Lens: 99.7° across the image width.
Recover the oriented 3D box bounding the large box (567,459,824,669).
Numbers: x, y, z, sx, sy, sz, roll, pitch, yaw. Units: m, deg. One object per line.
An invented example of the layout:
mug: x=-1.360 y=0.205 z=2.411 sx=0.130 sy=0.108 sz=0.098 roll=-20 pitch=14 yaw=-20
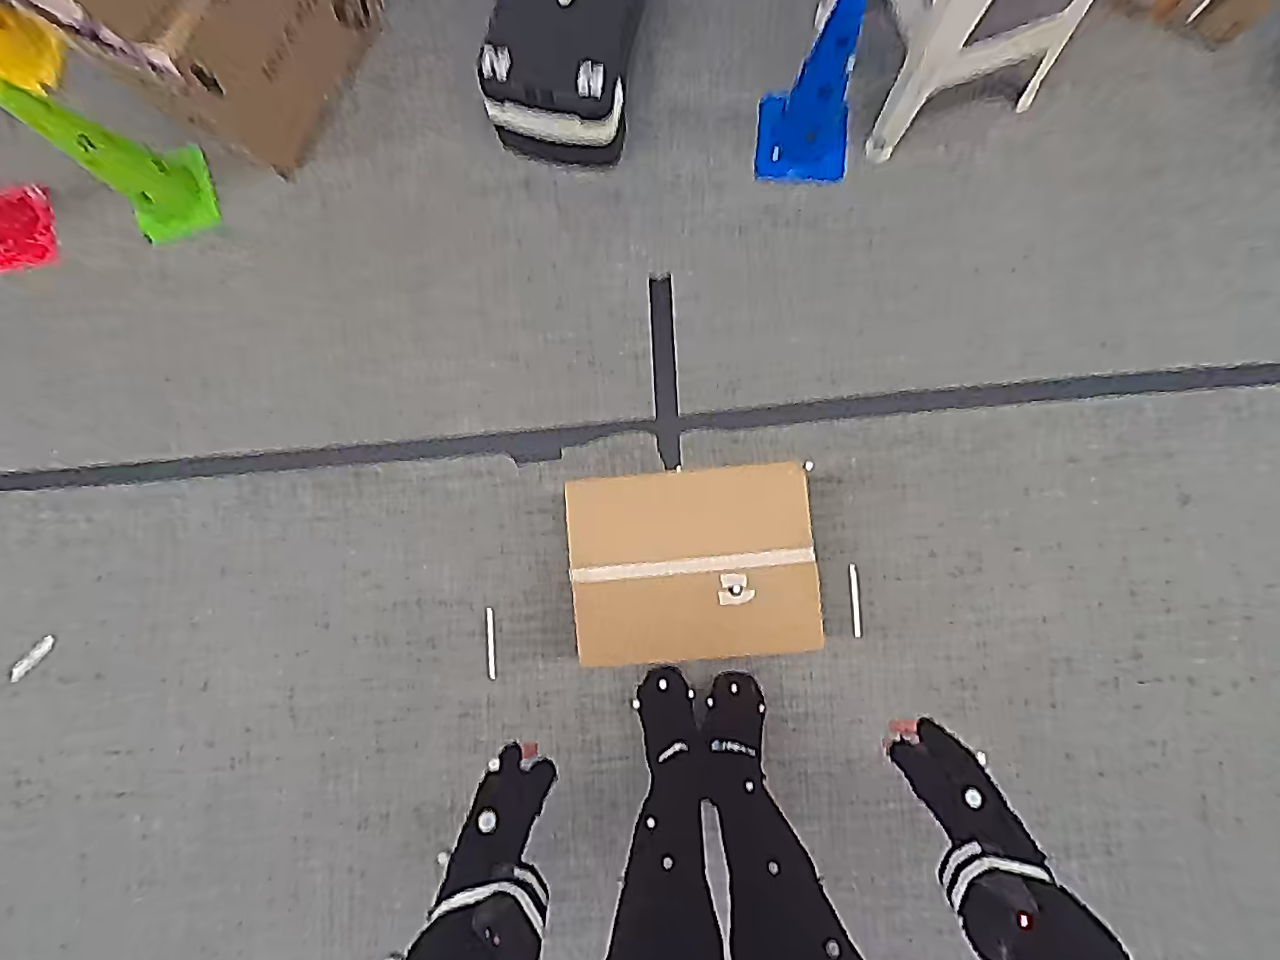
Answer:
large box: x=0.092 y=0.148 z=1.042 sx=0.408 sy=0.320 sz=0.320 roll=-6 pitch=87 yaw=1
